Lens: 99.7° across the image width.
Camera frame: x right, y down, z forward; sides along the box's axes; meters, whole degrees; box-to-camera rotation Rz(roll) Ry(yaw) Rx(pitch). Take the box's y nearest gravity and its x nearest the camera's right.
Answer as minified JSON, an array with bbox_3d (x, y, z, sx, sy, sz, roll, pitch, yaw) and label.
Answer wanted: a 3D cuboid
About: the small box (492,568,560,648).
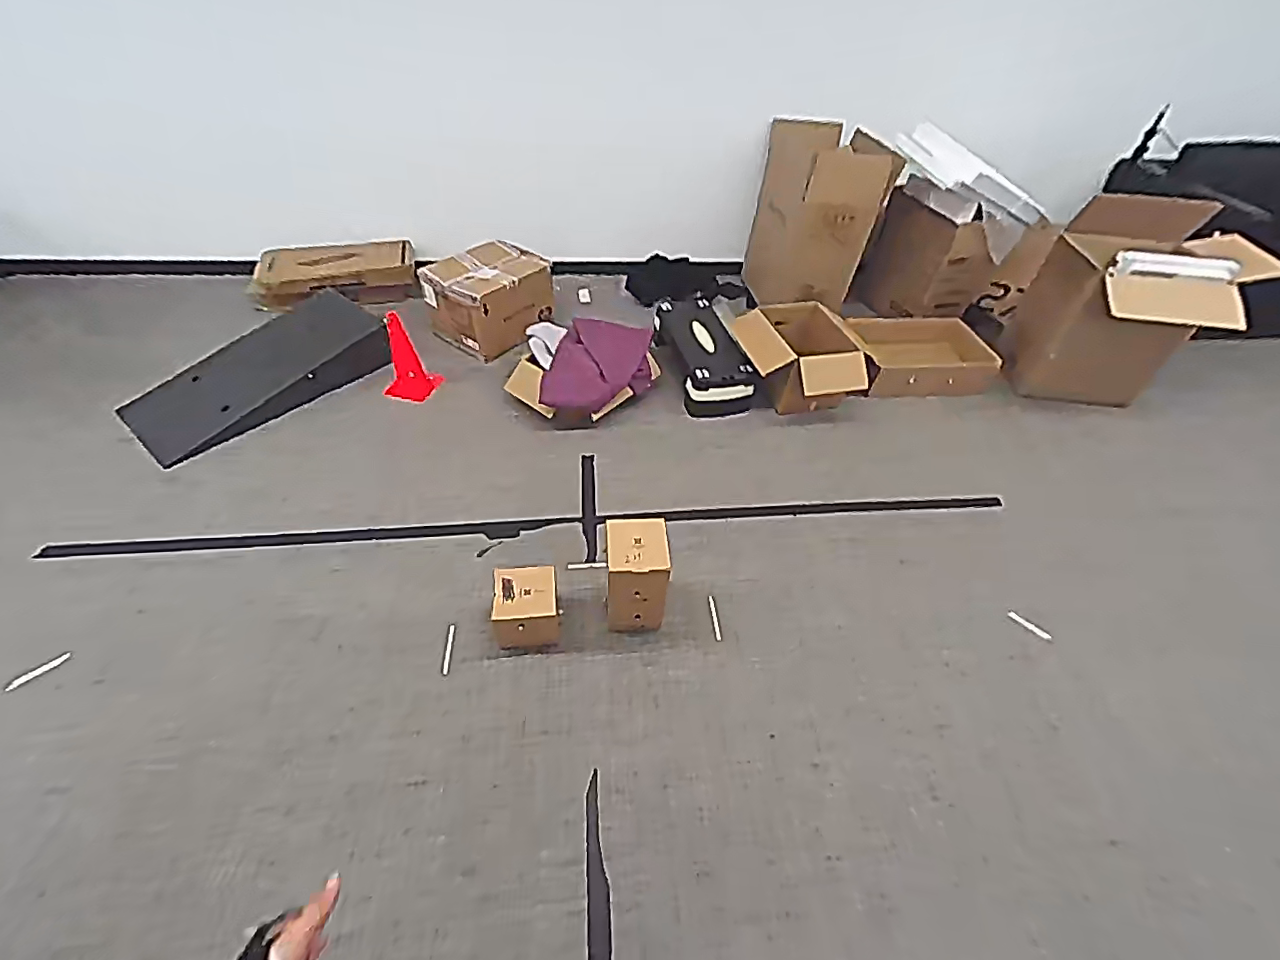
[{"bbox_3d":[-0.330,0.380,1.591,0.179,0.176,0.168,-4,47,-8],"label":"small box"}]

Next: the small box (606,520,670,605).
[{"bbox_3d":[-0.012,0.232,1.526,0.168,0.176,0.179,-2,47,-5],"label":"small box"}]

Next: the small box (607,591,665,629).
[{"bbox_3d":[-0.017,0.342,1.651,0.168,0.176,0.179,-3,47,-6],"label":"small box"}]
